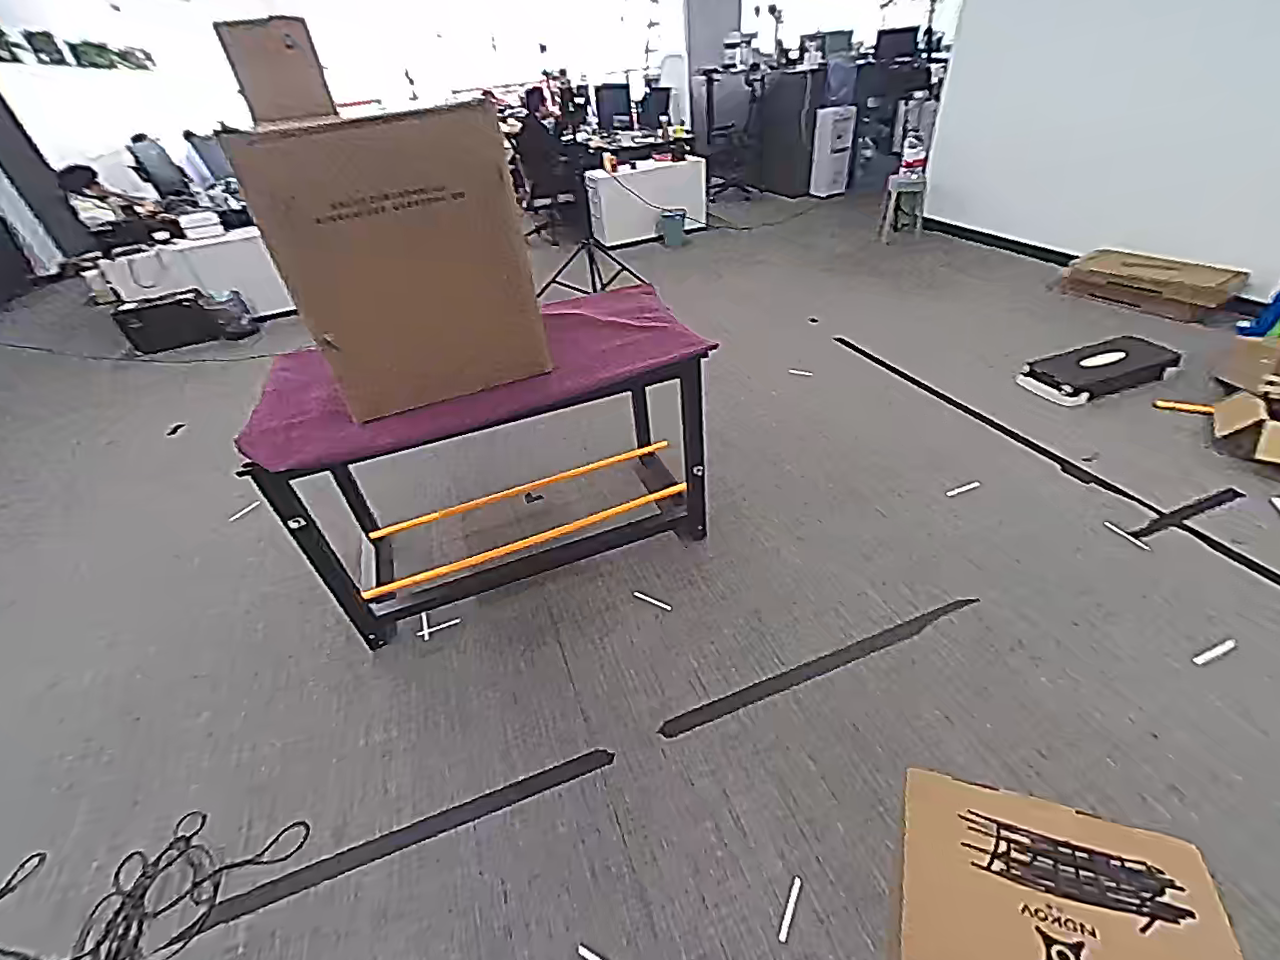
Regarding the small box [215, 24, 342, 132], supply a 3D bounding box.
[{"bbox_3d":[-0.770,-0.872,1.176,0.179,0.176,0.168,-18,39,-16],"label":"small box"}]
